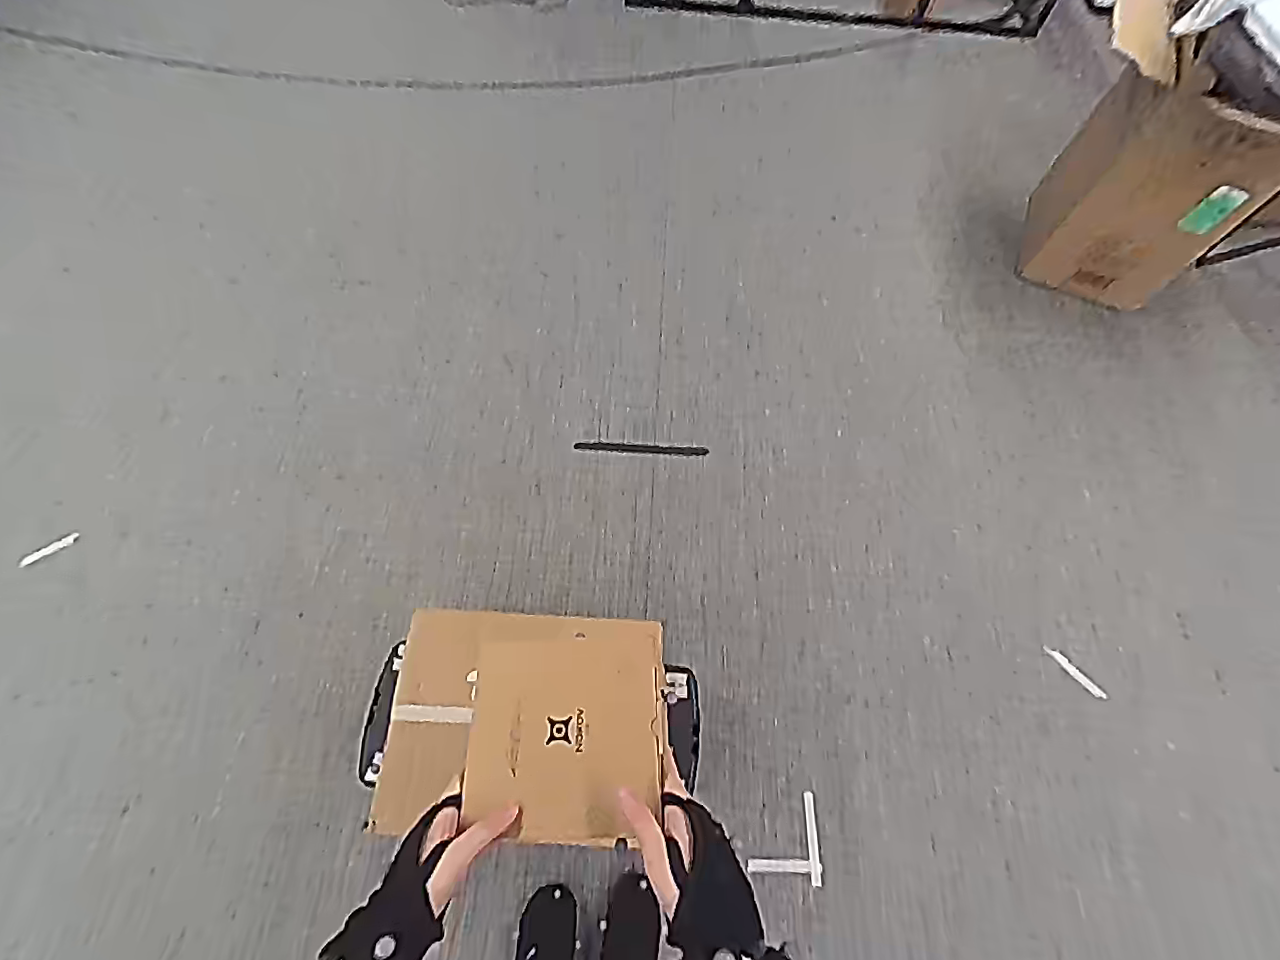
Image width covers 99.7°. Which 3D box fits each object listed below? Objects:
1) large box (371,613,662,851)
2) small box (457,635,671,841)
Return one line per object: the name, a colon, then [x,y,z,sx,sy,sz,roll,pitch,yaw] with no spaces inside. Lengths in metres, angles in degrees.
large box: [-0.169,0.424,0.939,0.408,0.320,0.320,3,64,0]
small box: [-0.057,0.260,0.544,0.179,0.176,0.168,-3,58,4]
